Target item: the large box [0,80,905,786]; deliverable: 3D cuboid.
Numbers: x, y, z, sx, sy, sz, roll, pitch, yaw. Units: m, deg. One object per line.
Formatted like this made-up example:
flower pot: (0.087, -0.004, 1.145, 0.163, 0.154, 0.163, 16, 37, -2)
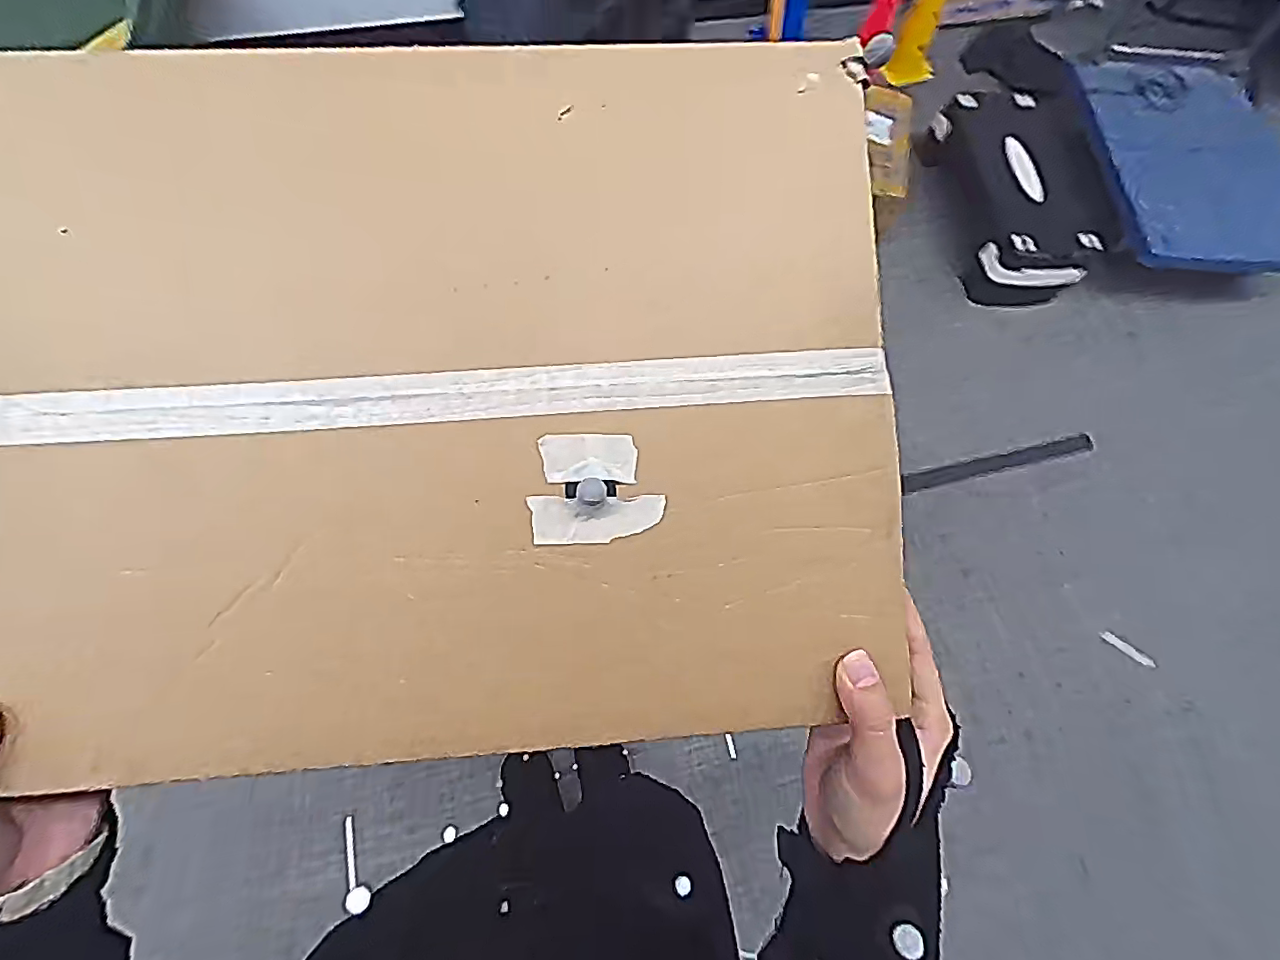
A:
large box: (-0.090, -0.027, 0.397, 0.408, 0.320, 0.320, -3, 89, -4)
